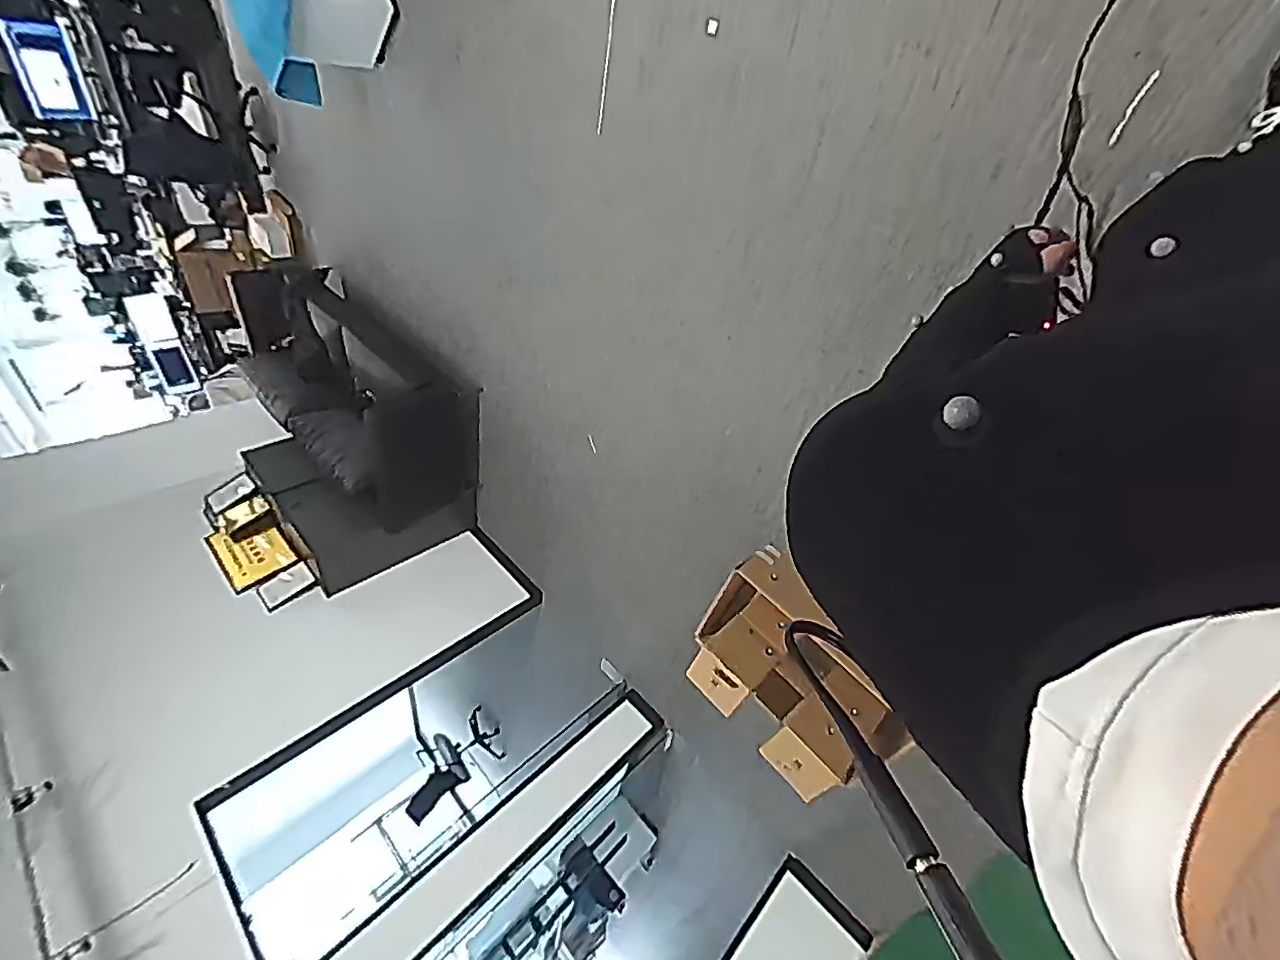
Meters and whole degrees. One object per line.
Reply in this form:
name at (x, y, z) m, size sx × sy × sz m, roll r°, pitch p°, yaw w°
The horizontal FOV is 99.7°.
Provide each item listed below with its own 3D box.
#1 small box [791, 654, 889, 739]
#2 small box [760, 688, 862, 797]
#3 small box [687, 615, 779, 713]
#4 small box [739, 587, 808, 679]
small box at (0.570, 0.633, 1.533) m, size 0.168 × 0.176 × 0.179 m, roll 43°, pitch 138°, yaw 21°
small box at (0.457, 0.685, 1.426) m, size 0.168 × 0.176 × 0.179 m, roll 44°, pitch 137°, yaw 23°
small box at (0.268, 0.518, 1.540) m, size 0.168 × 0.176 × 0.179 m, roll 42°, pitch 138°, yaw 24°
small box at (0.383, 0.458, 1.642) m, size 0.168 × 0.176 × 0.179 m, roll 42°, pitch 137°, yaw 23°
